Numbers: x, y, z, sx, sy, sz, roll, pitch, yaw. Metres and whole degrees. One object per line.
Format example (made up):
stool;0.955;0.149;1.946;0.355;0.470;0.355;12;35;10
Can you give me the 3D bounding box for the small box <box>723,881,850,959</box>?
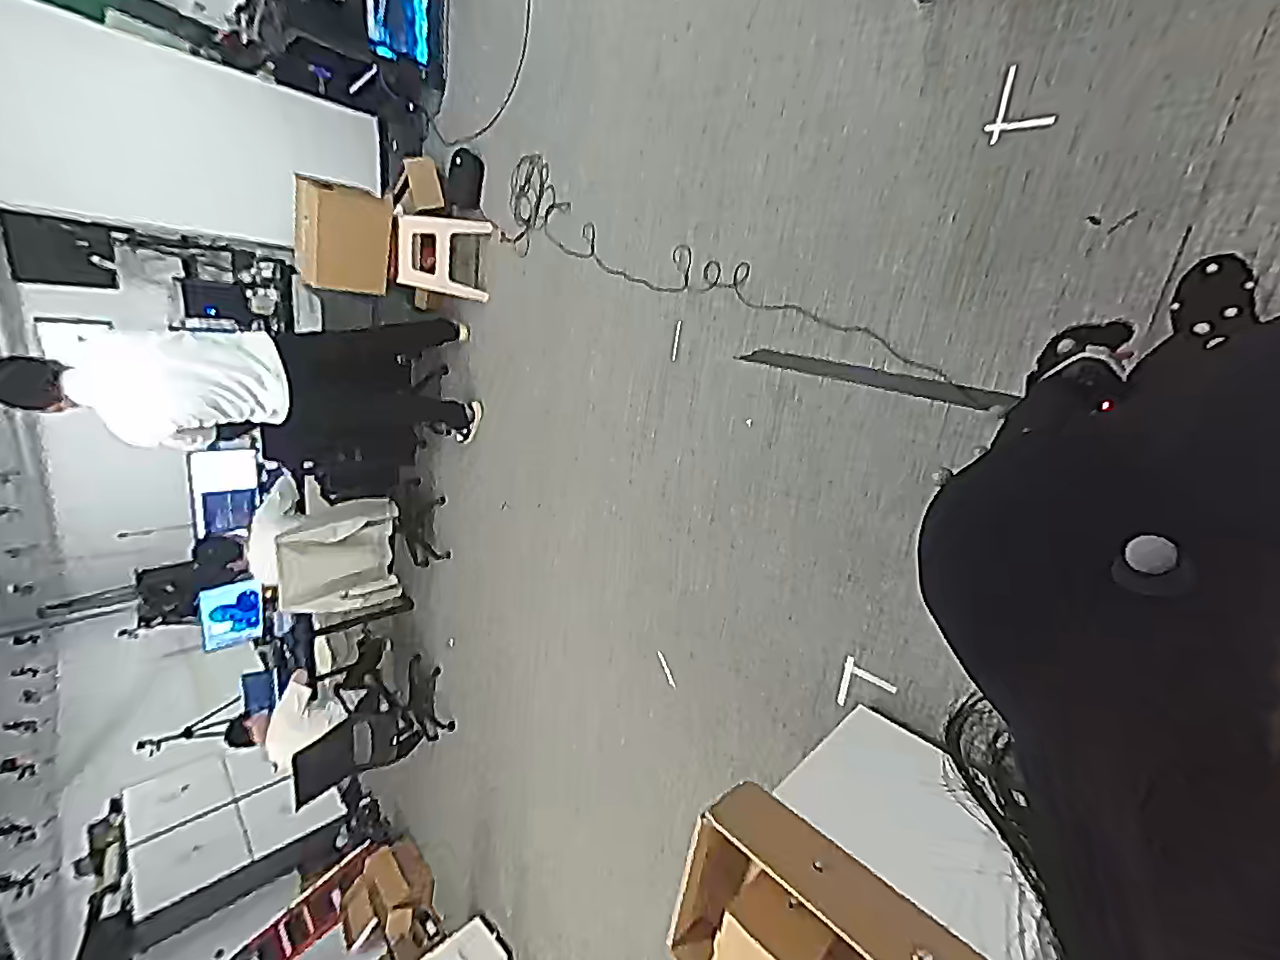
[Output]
small box;0.289;0.957;1.083;0.179;0.176;0.168;22;107;40
